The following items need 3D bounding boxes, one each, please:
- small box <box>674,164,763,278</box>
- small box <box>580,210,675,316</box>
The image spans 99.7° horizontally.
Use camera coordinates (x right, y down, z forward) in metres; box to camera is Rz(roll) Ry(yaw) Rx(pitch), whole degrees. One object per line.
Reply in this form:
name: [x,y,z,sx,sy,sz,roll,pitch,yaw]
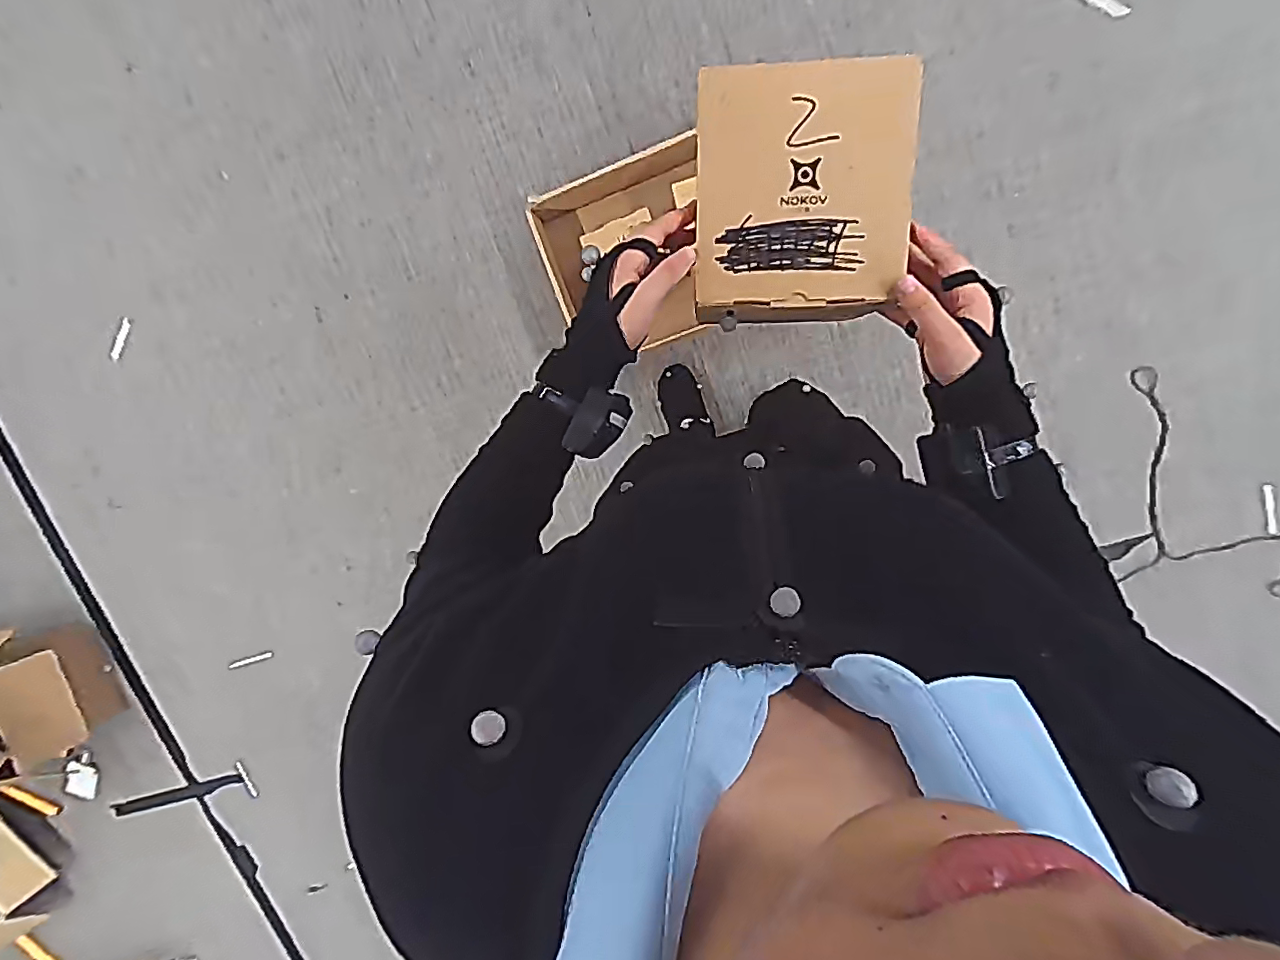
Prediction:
small box: [0.174,-0.586,1.245,0.168,0.176,0.179,-14,101,7]
small box: [-0.022,-0.497,1.274,0.168,0.176,0.179,-21,100,6]
